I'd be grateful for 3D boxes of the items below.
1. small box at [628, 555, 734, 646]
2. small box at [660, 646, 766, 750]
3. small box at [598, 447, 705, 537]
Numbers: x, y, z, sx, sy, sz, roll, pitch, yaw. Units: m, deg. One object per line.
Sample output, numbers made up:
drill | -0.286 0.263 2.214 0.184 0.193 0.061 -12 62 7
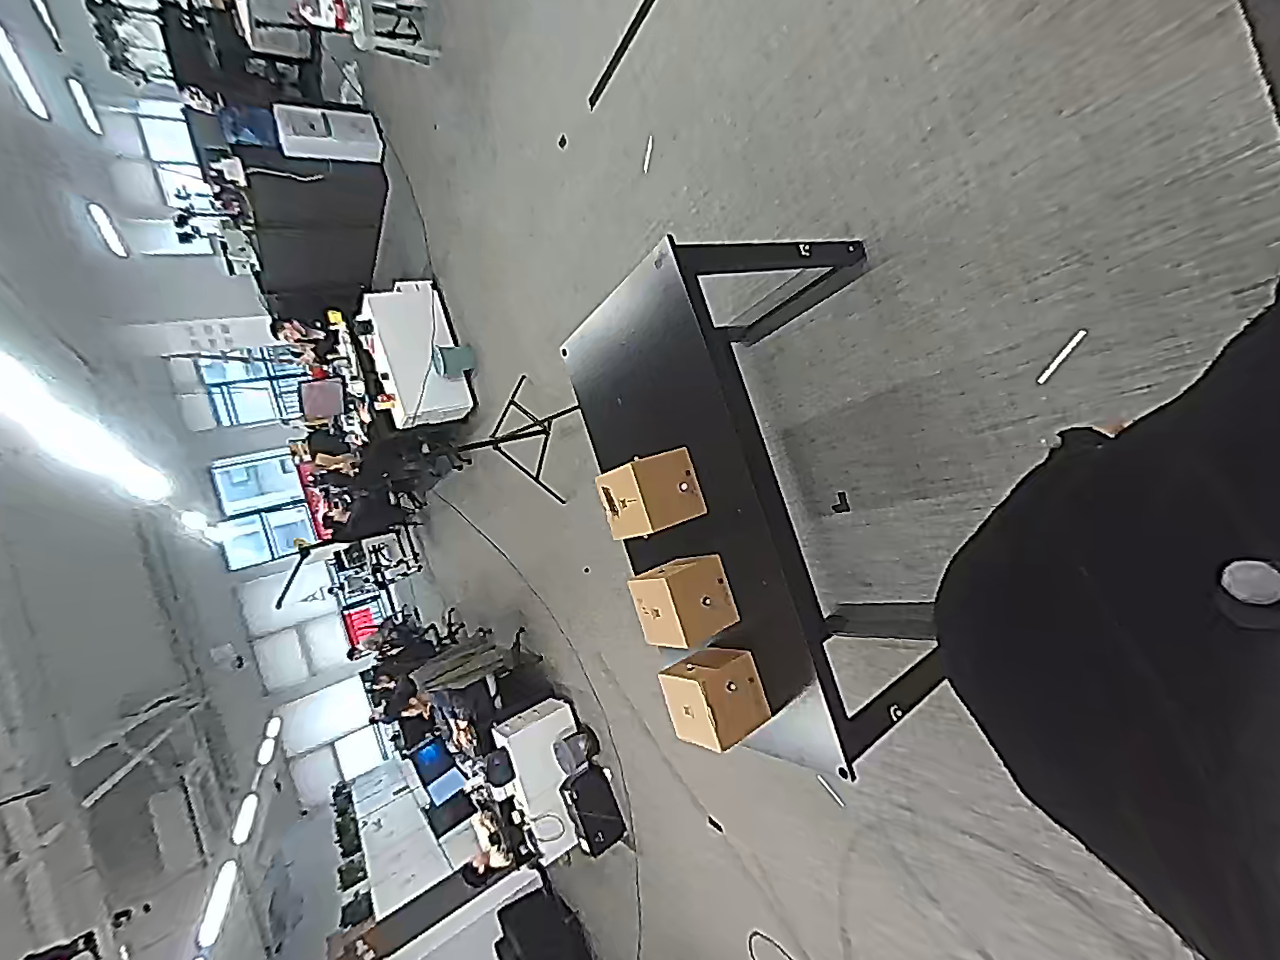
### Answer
small box | 0.104 0.284 1.301 0.179 0.176 0.168 -20 87 58
small box | 0.180 0.511 1.297 0.179 0.176 0.168 -22 85 58
small box | 0.027 0.030 1.300 0.179 0.176 0.168 -20 88 57
